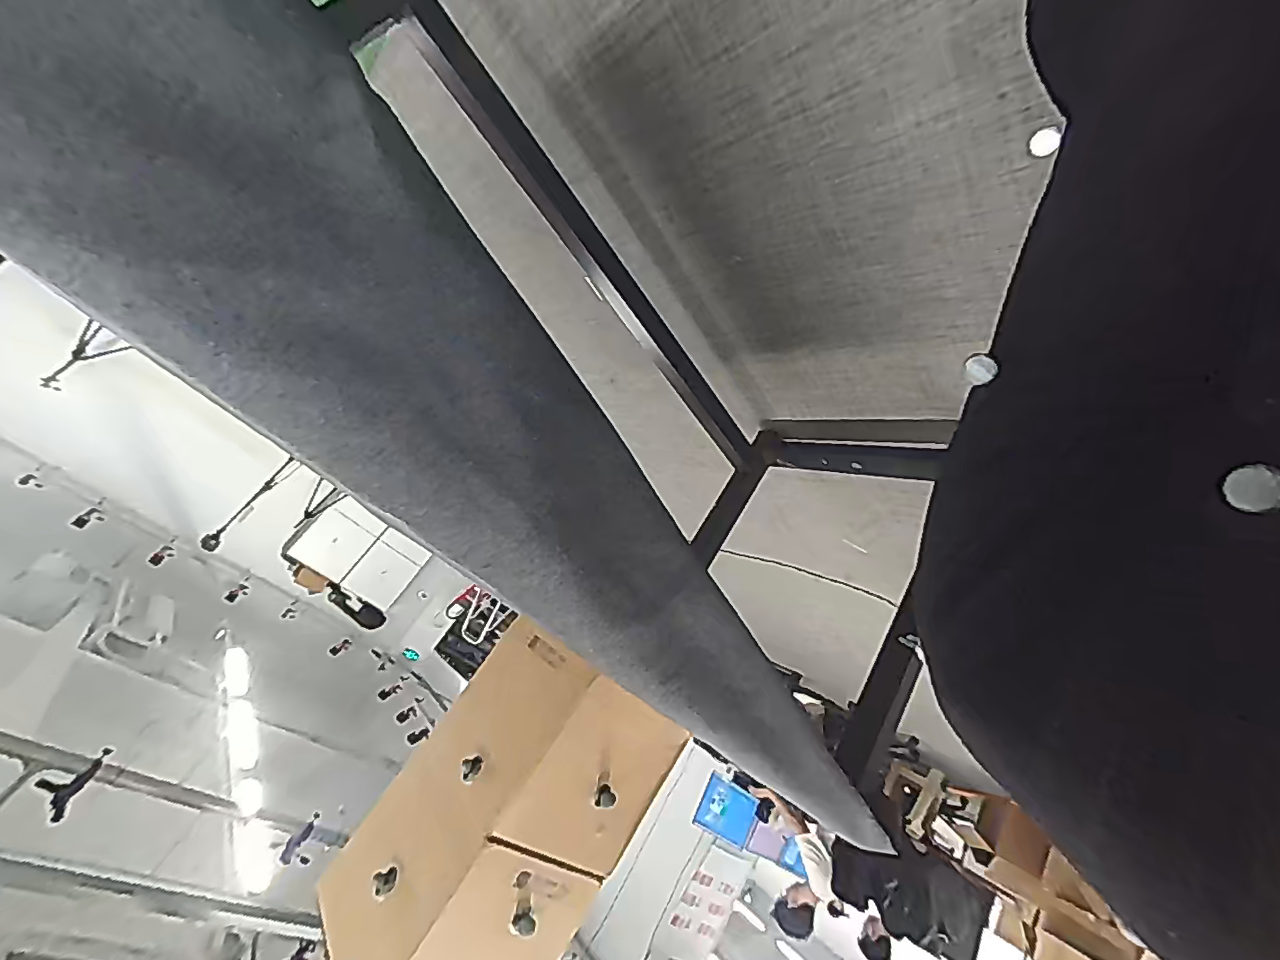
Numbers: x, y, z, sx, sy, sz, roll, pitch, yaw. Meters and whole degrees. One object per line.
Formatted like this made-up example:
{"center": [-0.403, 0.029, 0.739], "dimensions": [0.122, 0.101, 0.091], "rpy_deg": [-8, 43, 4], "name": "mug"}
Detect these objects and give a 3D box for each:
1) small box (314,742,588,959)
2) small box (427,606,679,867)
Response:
{"center": [-0.184, 0.394, 0.542], "dimensions": [0.179, 0.176, 0.168], "rpy_deg": [12, 150, 51], "name": "small box"}
{"center": [-0.089, 0.268, 0.590], "dimensions": [0.168, 0.176, 0.179], "rpy_deg": [12, 150, 52], "name": "small box"}
